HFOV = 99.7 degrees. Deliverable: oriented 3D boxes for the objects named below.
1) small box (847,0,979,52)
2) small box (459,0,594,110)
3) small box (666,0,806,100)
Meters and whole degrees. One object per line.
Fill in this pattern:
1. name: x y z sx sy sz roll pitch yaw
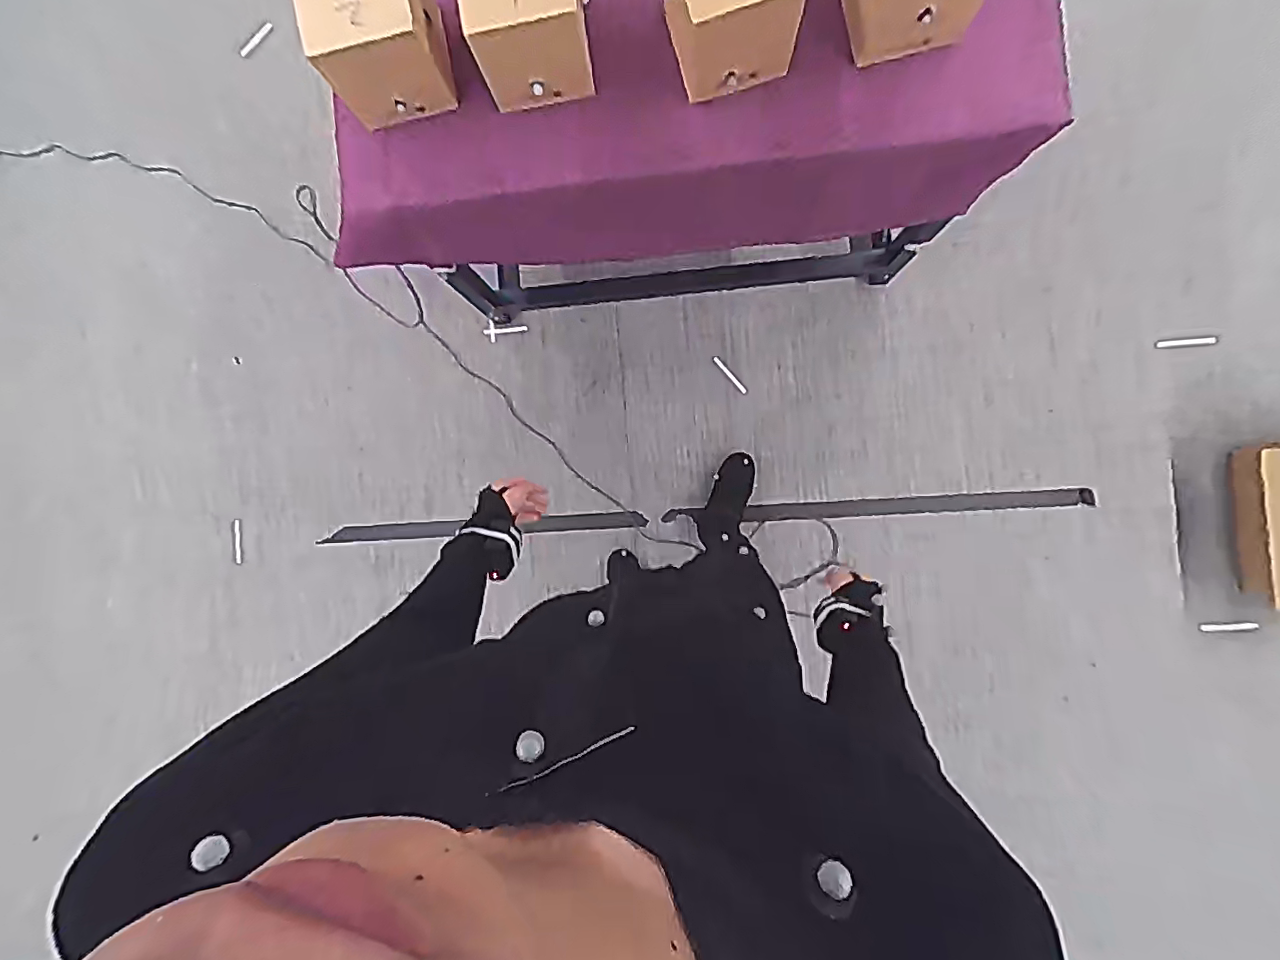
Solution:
1. small box: 0.405 -0.765 0.779 0.168 0.176 0.179 -11 88 4
2. small box: -0.172 -0.716 0.825 0.168 0.176 0.179 -9 90 5
3. small box: 0.133 -0.721 0.802 0.168 0.176 0.179 -15 88 5
